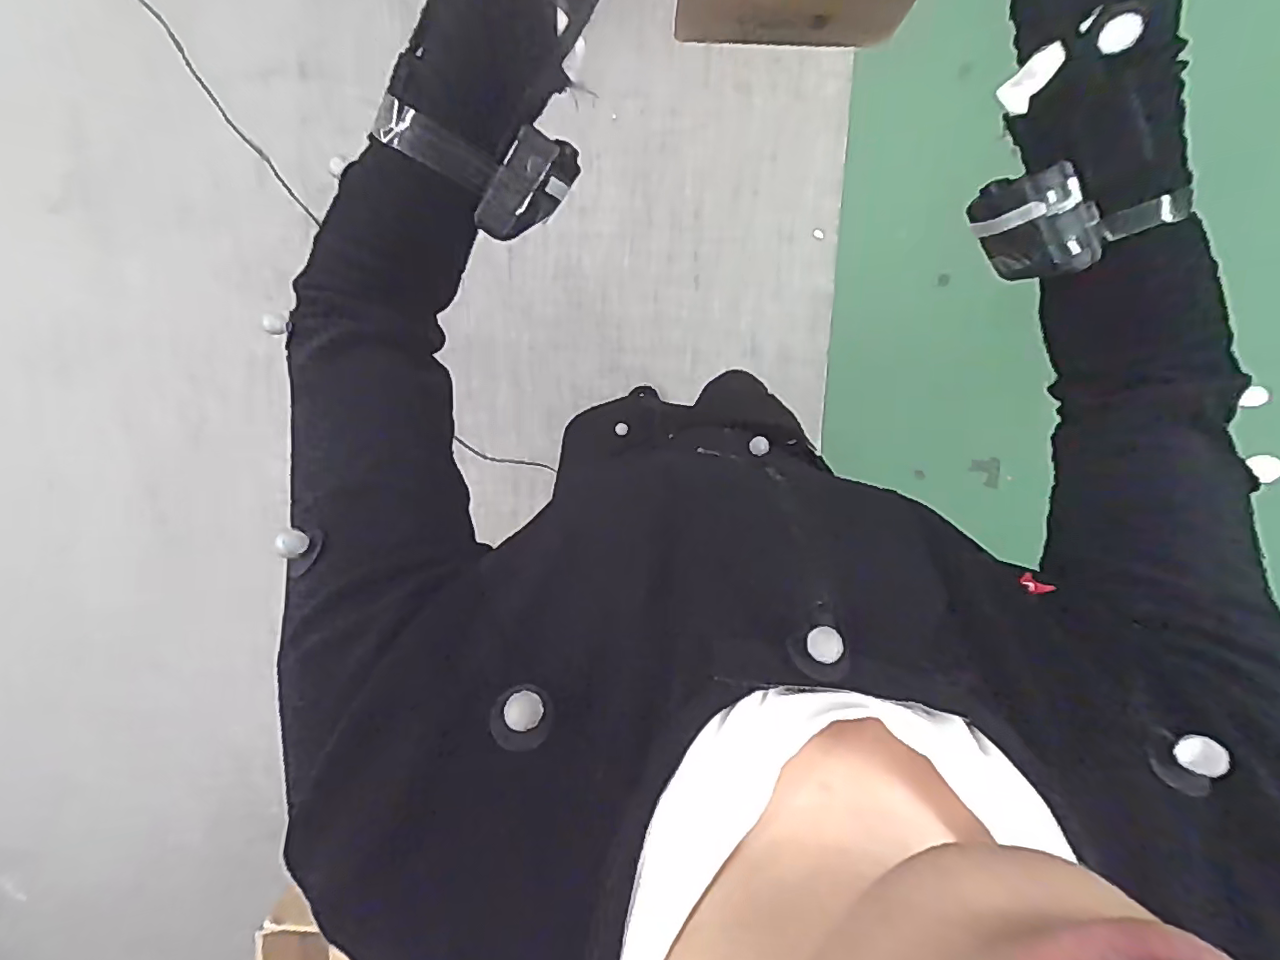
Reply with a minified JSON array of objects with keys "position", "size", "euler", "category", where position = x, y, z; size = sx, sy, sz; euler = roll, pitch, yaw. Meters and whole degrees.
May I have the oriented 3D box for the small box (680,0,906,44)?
[{"position":[0.114,-0.418,0.334],"size":[0.168,0.176,0.179],"euler":[1,93,-2],"category":"small box"}]
